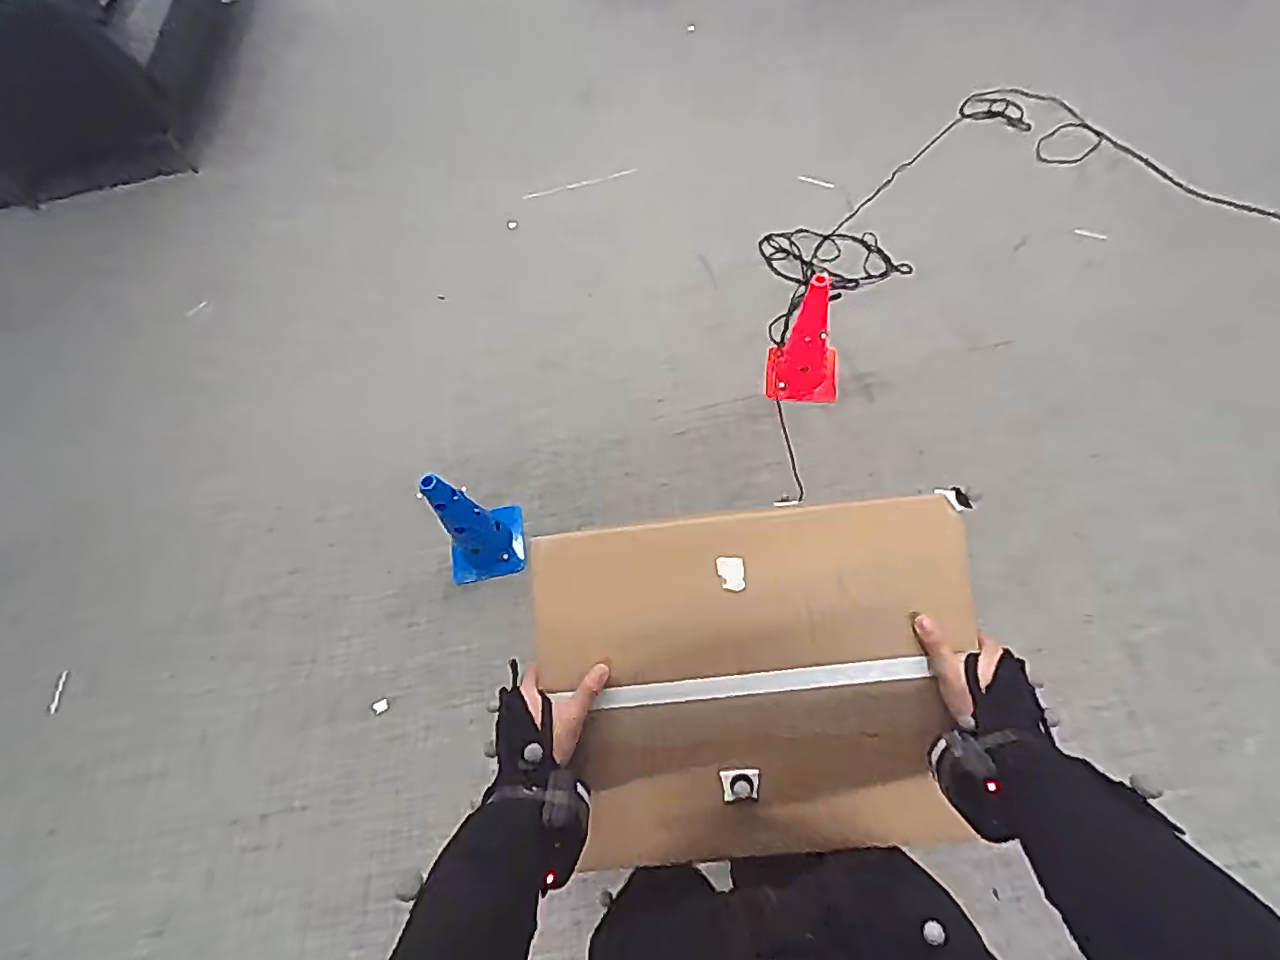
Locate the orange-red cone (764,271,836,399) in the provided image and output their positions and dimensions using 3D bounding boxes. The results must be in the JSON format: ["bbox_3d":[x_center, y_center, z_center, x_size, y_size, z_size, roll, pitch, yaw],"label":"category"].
[{"bbox_3d":[0.448,-0.401,1.434,0.199,0.360,0.198,6,64,11],"label":"orange-red cone"}]

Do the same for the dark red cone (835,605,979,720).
[{"bbox_3d":[0.521,0.312,1.005,0.202,0.394,0.201,-18,63,-1],"label":"dark red cone"}]

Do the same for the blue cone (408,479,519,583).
[{"bbox_3d":[-0.445,0.097,1.321,0.192,0.380,0.193,-12,60,3],"label":"blue cone"}]
